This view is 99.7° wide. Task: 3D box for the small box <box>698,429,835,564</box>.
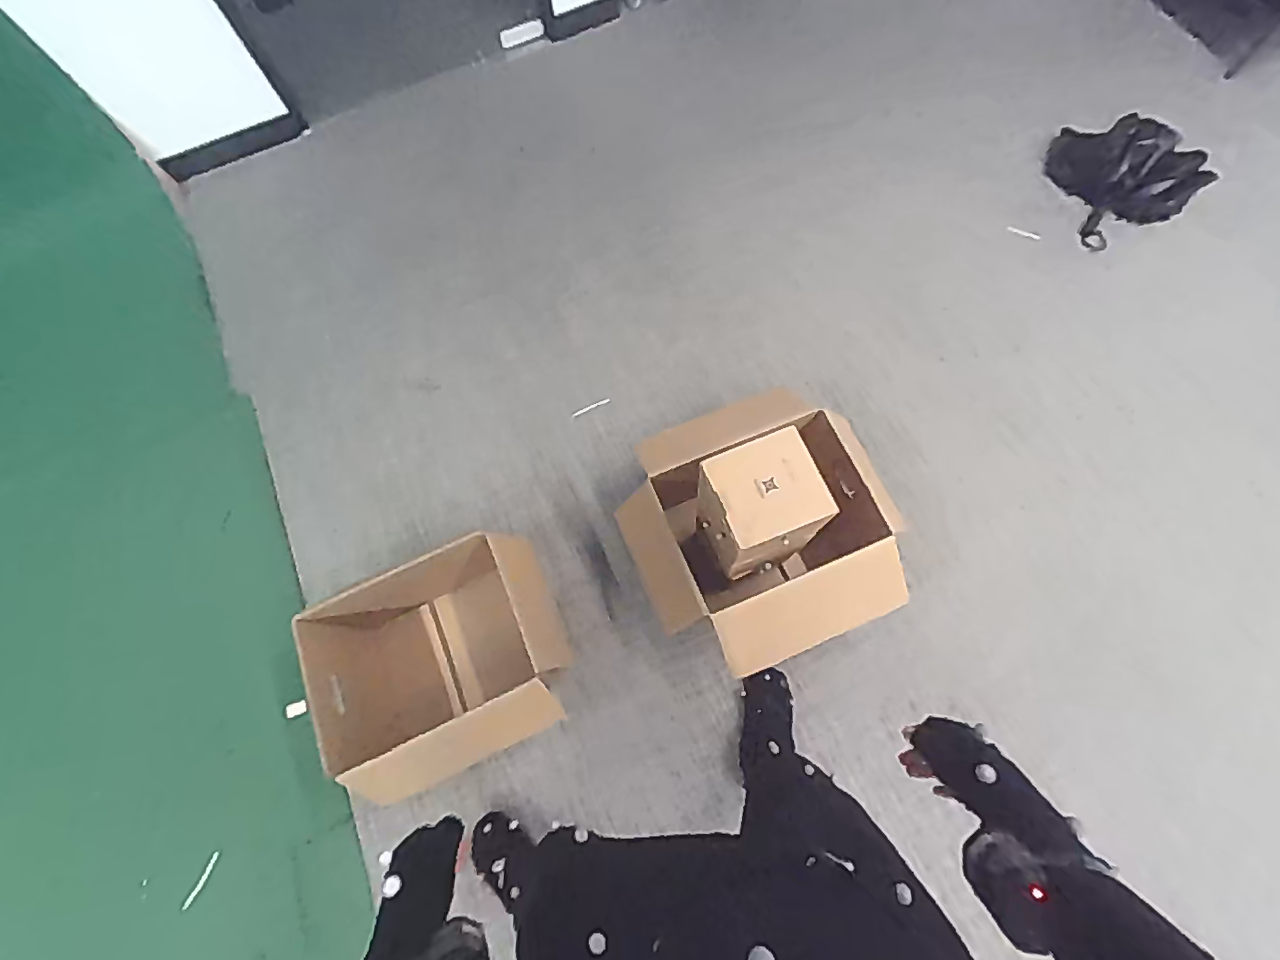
[{"bbox_3d":[0.215,0.038,0.970,0.179,0.176,0.168,-23,73,-3],"label":"small box"}]
